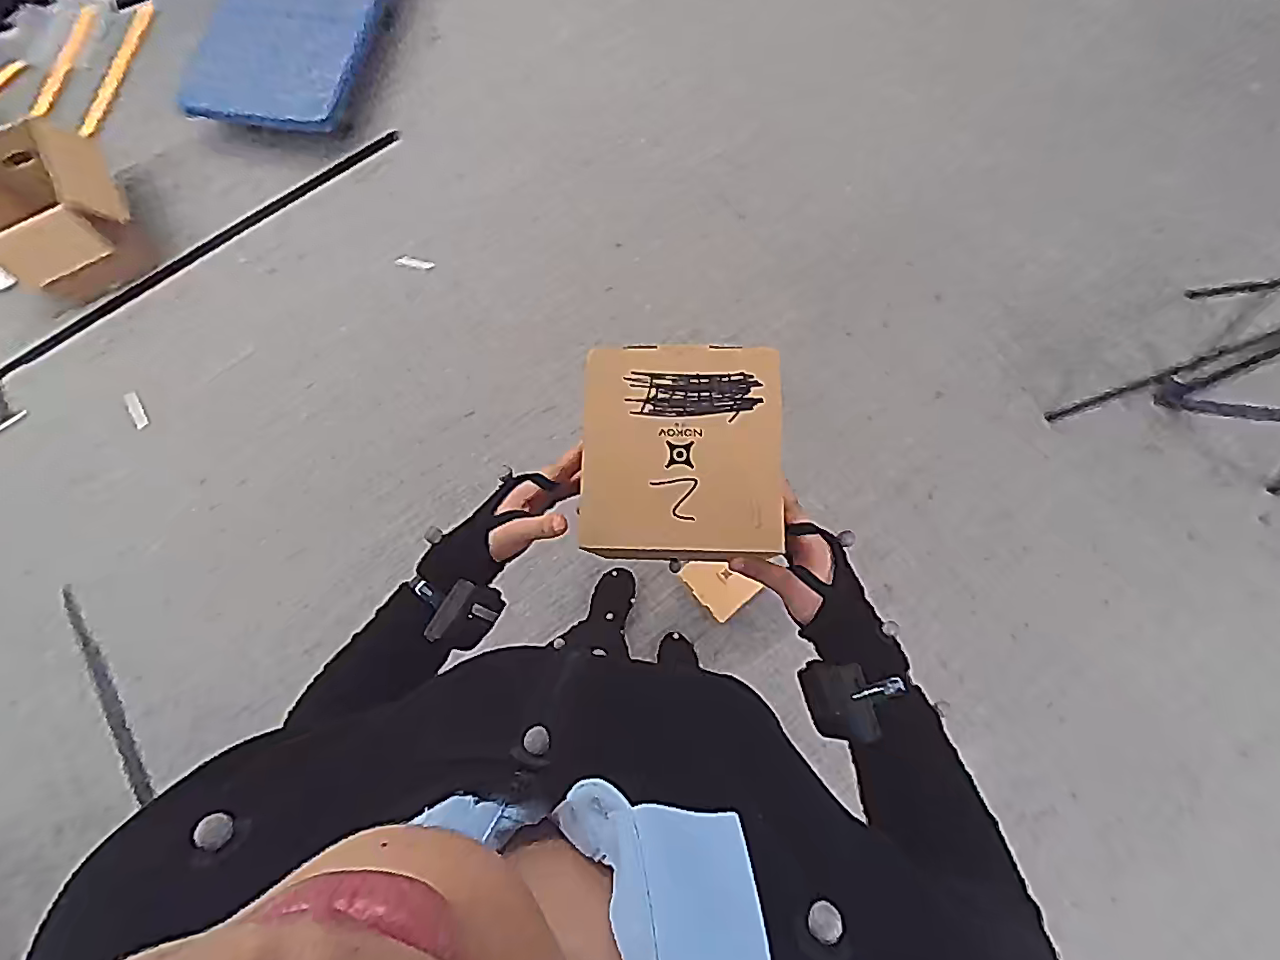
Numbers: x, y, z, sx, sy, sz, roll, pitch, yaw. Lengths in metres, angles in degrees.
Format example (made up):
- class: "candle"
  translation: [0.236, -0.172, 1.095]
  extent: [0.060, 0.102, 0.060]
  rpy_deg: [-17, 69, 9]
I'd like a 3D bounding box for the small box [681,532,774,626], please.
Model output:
- class: "small box"
  translation: [0.220, 0.261, 1.415]
  extent: [0.179, 0.176, 0.168]
  rpy_deg: [-40, 76, -6]
